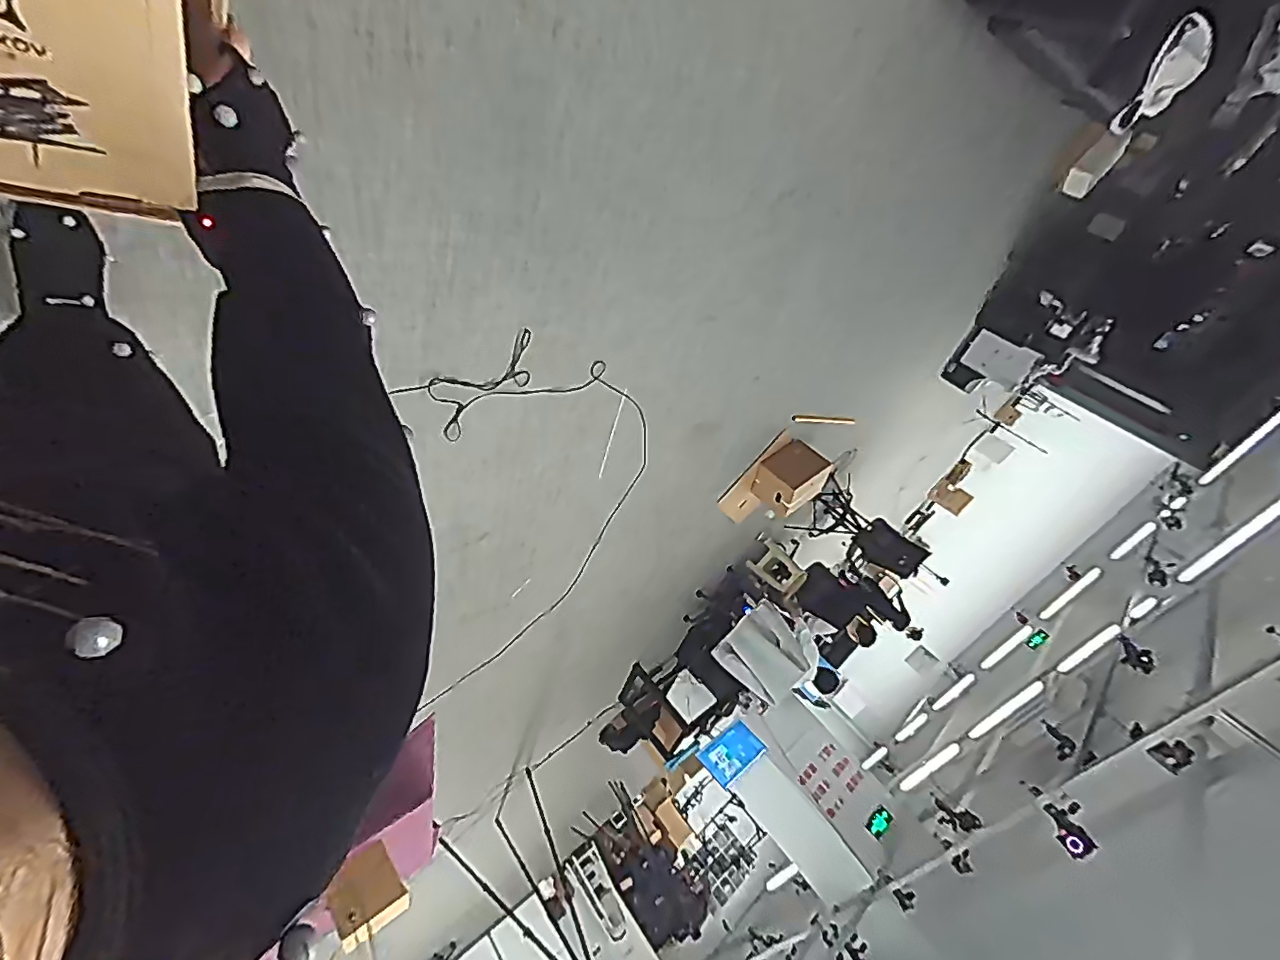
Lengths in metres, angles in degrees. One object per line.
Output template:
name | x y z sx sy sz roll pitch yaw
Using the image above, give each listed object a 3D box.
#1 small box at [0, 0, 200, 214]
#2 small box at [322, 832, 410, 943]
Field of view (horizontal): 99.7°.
small box | -0.397 -0.298 0.334 0.168 0.176 0.179 -14 138 -45
small box | -0.774 1.147 1.533 0.179 0.176 0.168 -20 143 -38
